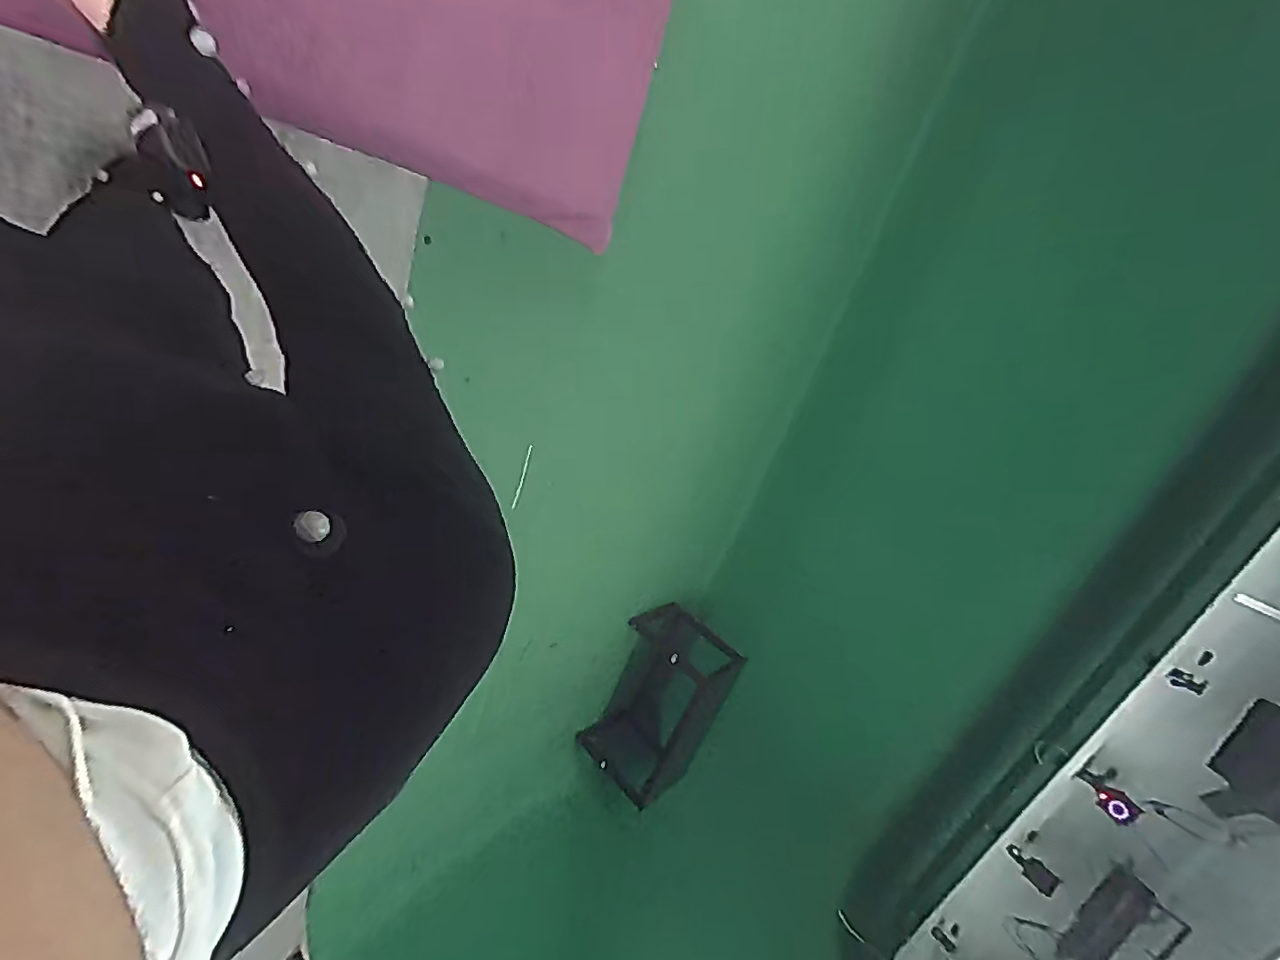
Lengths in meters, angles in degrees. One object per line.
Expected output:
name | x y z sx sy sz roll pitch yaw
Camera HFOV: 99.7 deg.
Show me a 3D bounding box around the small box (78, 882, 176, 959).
small box | -1.383 1.238 1.455 0.168 0.176 0.179 -6 125 -52
